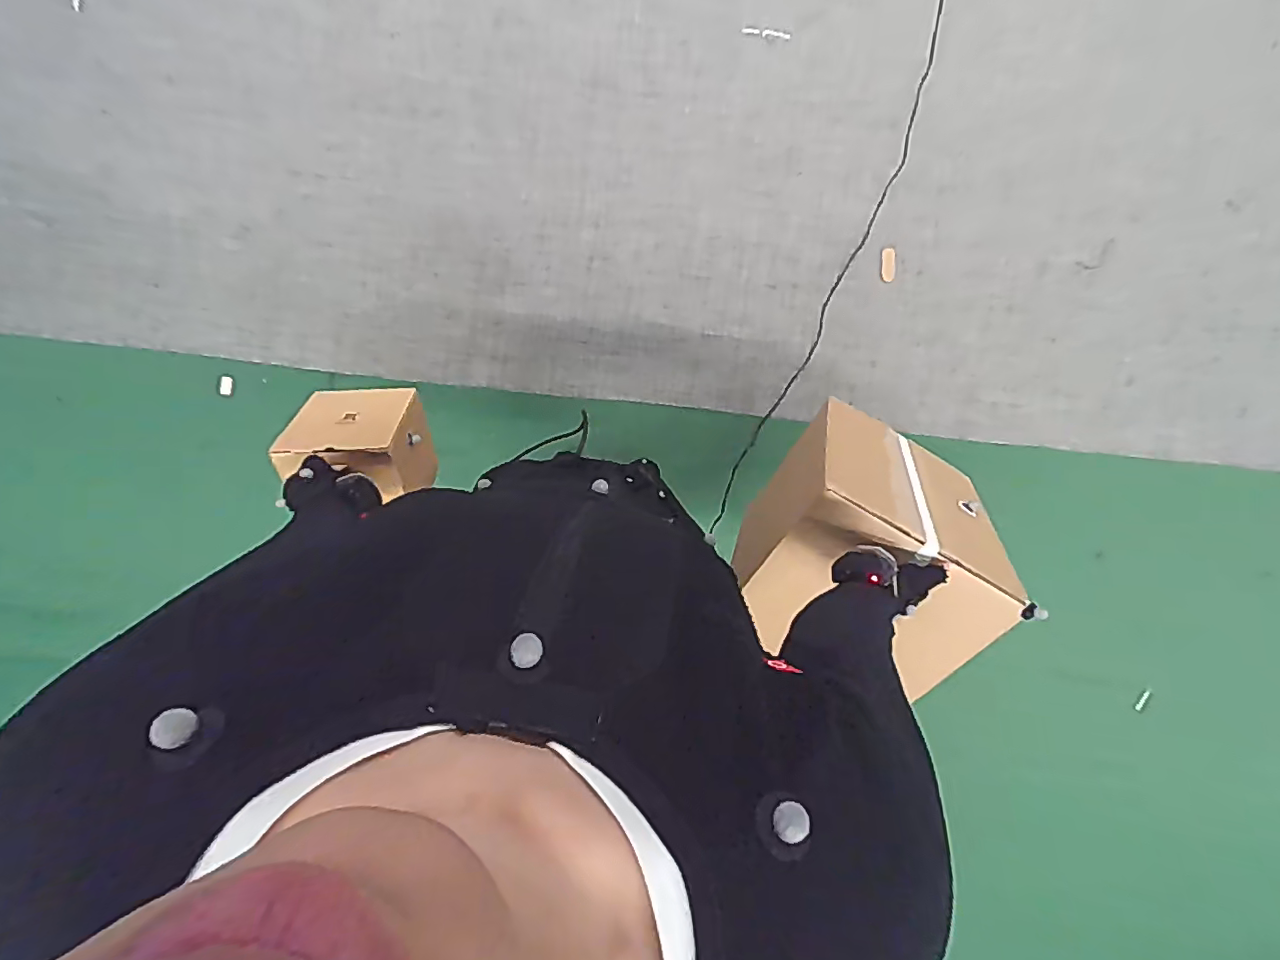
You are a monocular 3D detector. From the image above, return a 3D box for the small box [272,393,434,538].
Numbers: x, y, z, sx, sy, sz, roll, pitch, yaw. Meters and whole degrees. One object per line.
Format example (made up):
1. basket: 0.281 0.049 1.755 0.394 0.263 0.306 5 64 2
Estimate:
1. small box: -0.449 -0.026 0.882 0.168 0.179 0.176 -3 129 -4
